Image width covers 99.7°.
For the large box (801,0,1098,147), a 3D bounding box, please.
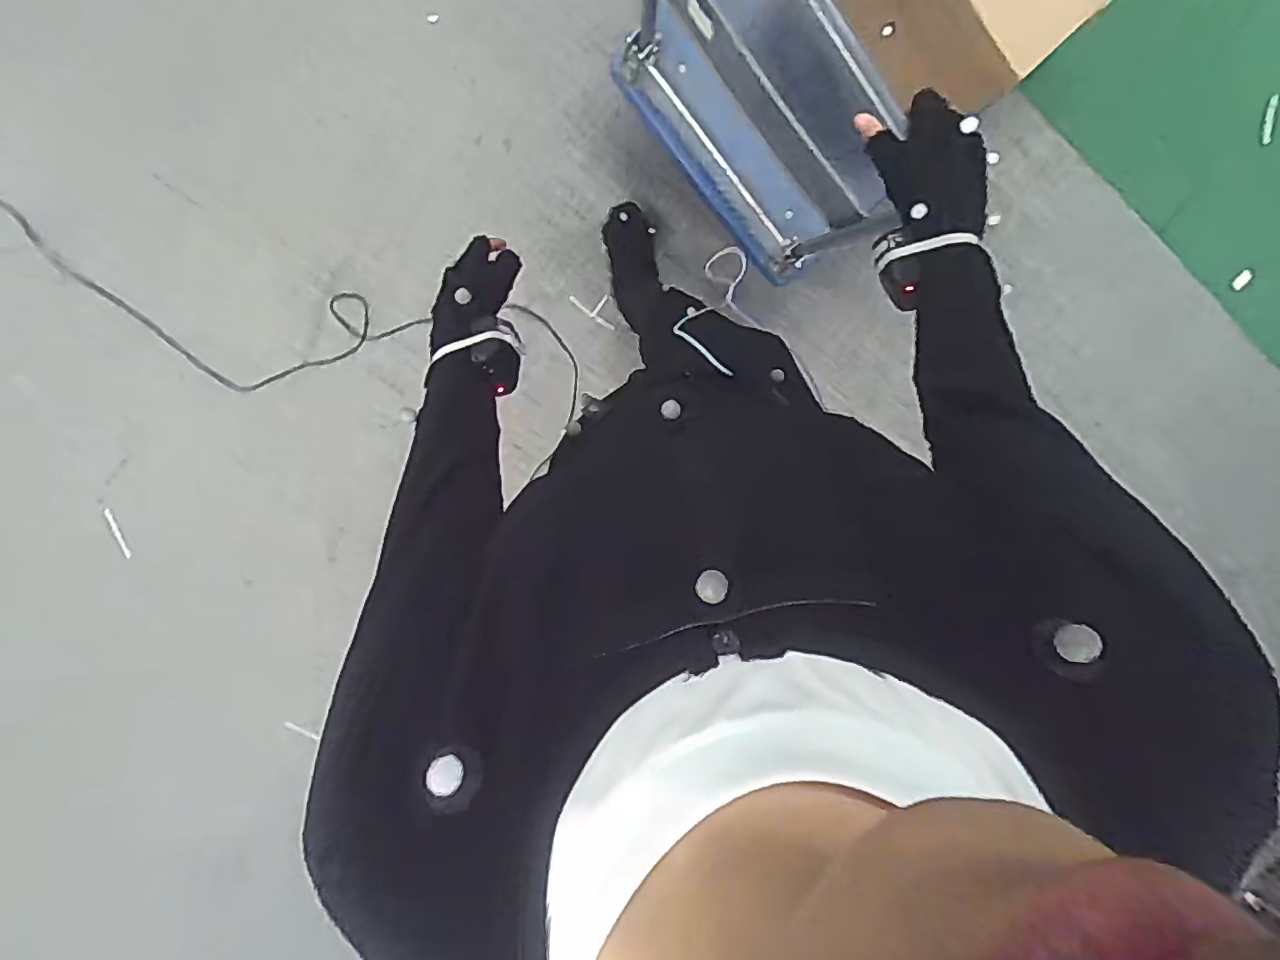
[{"bbox_3d":[0.538,-0.883,0.916,0.320,0.320,0.408,-43,102,9],"label":"large box"}]
